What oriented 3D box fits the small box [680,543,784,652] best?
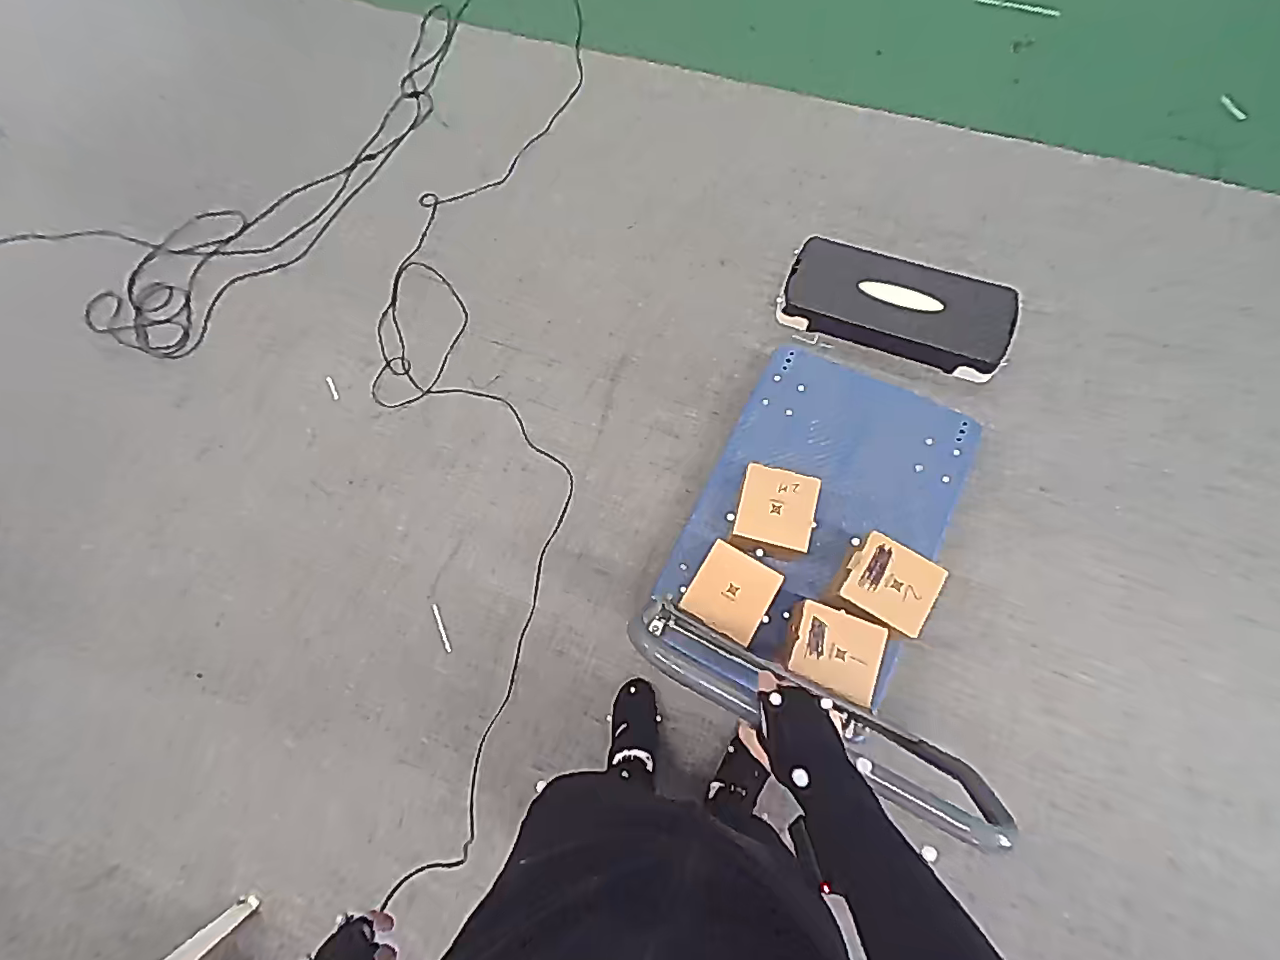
[{"bbox_3d":[0.199,0.269,1.230,0.168,0.176,0.179,30,77,11],"label":"small box"}]

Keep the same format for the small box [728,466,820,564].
[{"bbox_3d":[0.309,0.090,1.277,0.168,0.176,0.179,15,74,7],"label":"small box"}]
